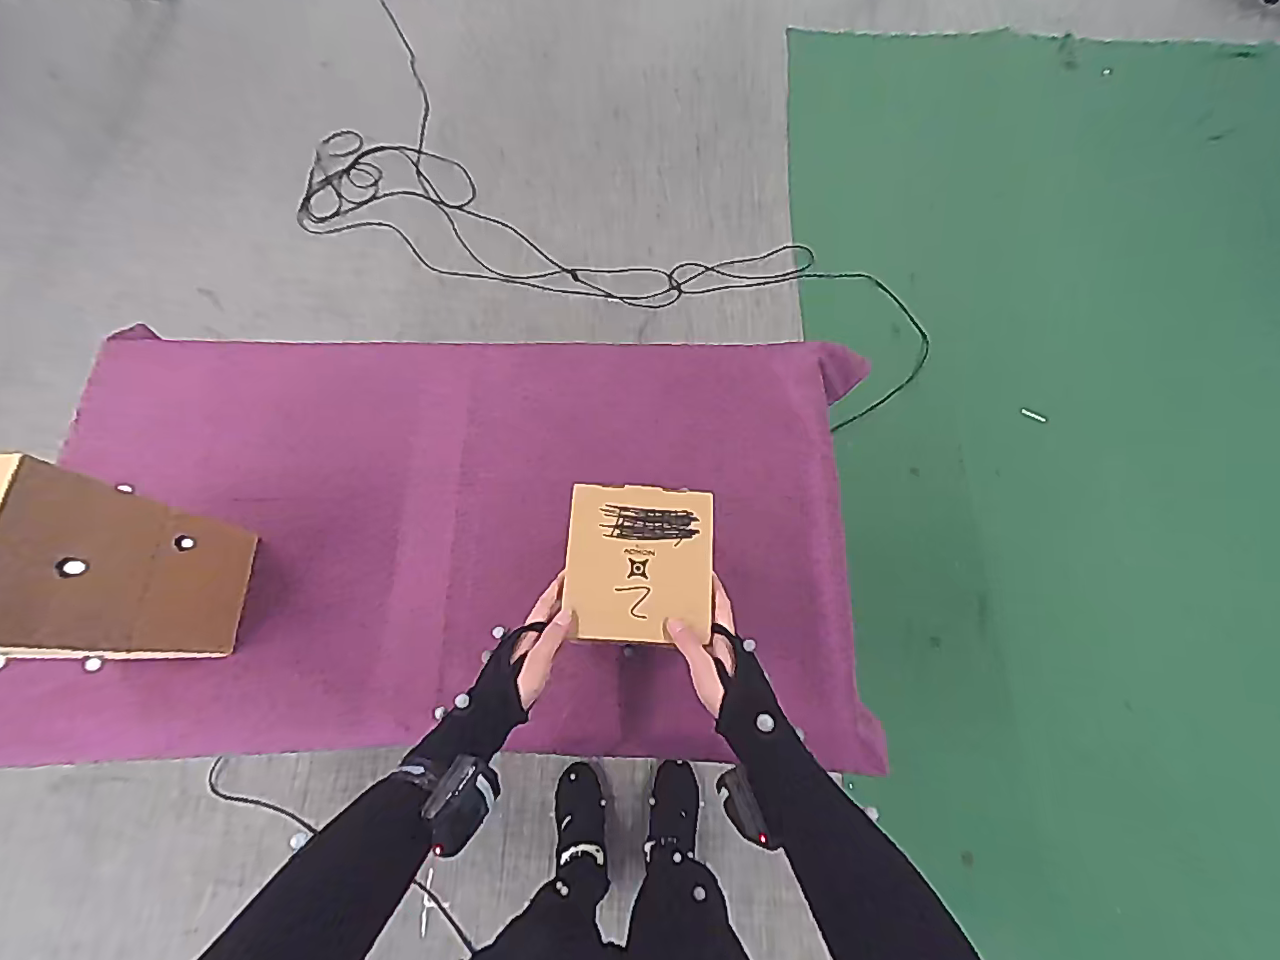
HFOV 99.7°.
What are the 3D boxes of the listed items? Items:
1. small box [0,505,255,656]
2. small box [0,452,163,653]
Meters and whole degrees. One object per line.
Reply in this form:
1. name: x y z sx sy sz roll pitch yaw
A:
1. small box: -0.651 0.139 0.708 0.168 0.176 0.179 -1 70 0
2. small box: -0.652 0.082 0.554 0.168 0.176 0.179 -1 71 1
